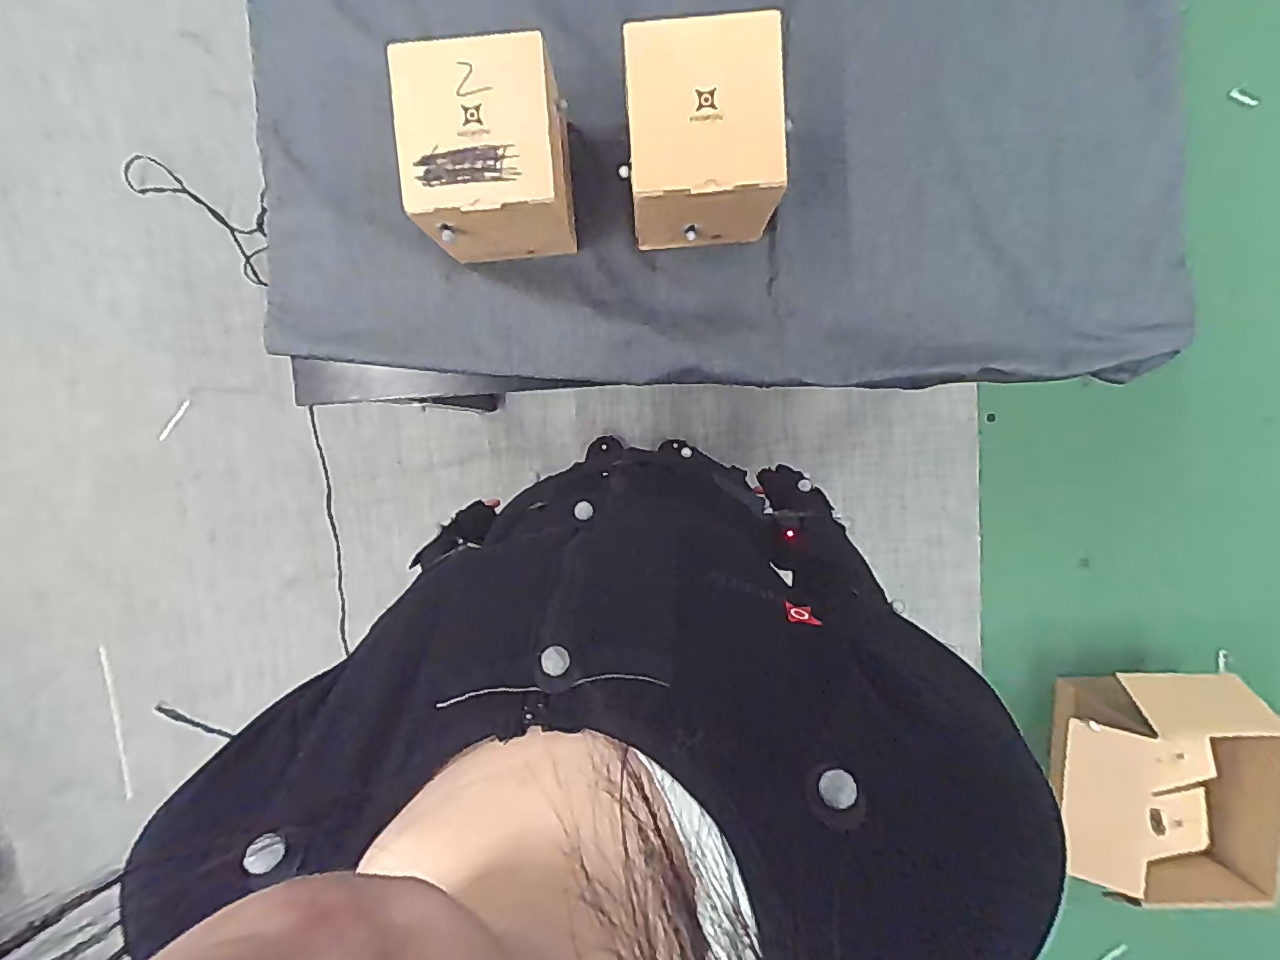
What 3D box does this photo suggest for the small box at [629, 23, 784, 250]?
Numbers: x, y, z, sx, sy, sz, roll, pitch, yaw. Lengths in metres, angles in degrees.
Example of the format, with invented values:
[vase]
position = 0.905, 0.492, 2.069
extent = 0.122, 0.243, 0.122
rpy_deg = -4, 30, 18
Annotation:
[small box]
position = 0.072, -0.404, 0.663
extent = 0.168, 0.176, 0.179
rpy_deg = -4, 95, 1
